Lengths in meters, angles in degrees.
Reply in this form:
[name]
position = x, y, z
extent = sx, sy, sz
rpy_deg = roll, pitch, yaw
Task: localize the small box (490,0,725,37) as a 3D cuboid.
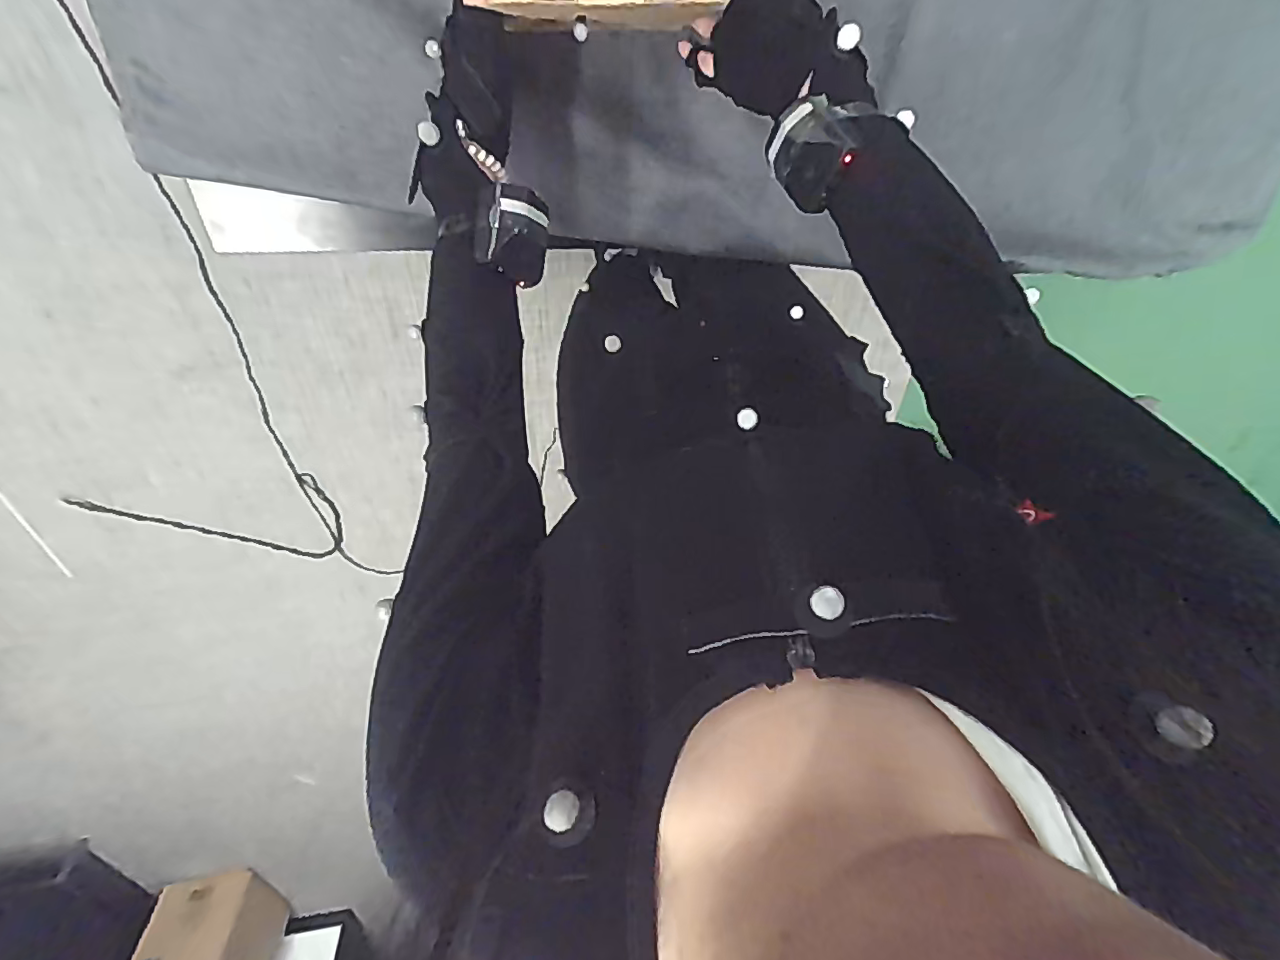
[small box]
position = -0.034, -0.435, 0.383
extent = 0.168, 0.176, 0.179
rpy_deg = -6, 127, -7
